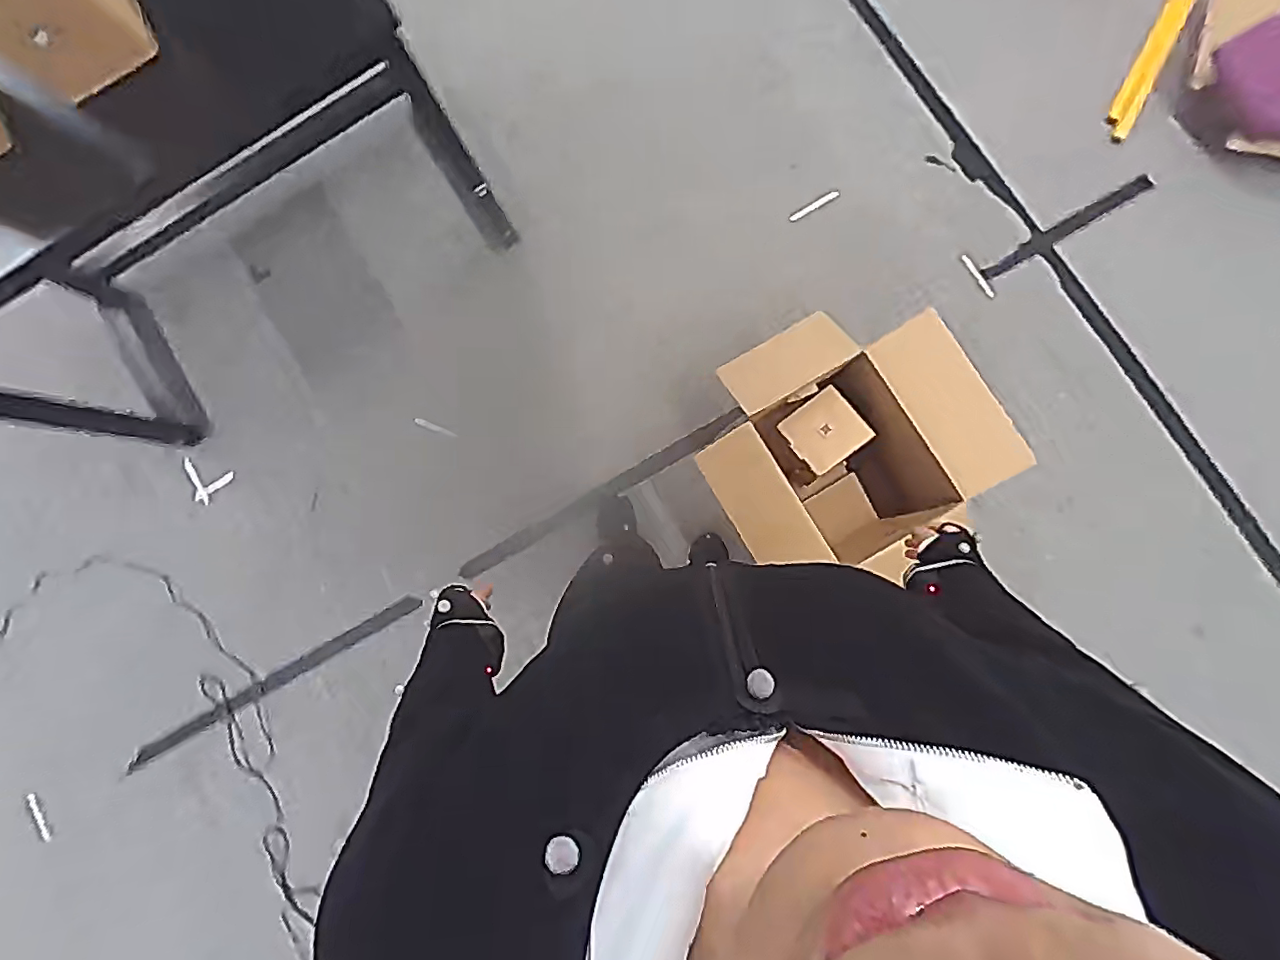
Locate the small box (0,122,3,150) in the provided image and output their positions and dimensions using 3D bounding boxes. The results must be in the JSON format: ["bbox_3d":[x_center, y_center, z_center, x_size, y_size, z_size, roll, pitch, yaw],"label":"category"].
[{"bbox_3d":[-1.180,-0.605,0.848,0.179,0.176,0.168,-32,84,1],"label":"small box"}]

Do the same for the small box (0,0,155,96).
[{"bbox_3d":[-0.930,-0.758,0.842,0.179,0.176,0.168,-30,84,2],"label":"small box"}]
